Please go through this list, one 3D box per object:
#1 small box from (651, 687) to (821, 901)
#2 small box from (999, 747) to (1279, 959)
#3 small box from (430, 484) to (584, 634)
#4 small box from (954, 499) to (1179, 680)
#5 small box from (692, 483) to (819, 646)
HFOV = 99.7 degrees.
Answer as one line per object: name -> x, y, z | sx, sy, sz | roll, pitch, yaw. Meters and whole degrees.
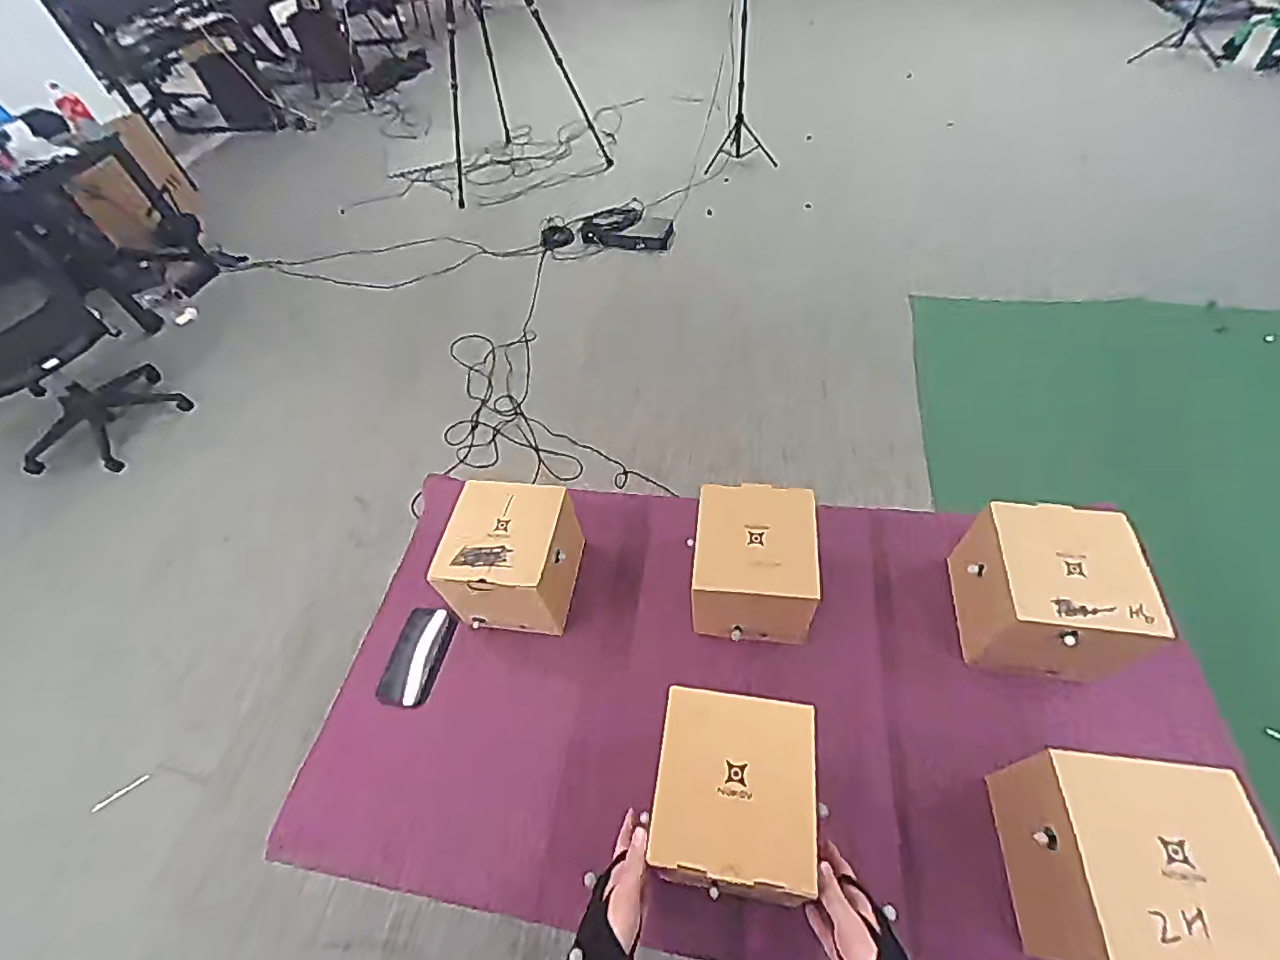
small box -> 0.111, 0.365, 0.629 | 0.168, 0.176, 0.179 | 3, 53, 11
small box -> 0.499, 0.392, 0.549 | 0.168, 0.176, 0.179 | 2, 53, 11
small box -> -0.194, 0.127, 0.855 | 0.168, 0.176, 0.179 | 3, 53, 10
small box -> 0.550, 0.149, 0.733 | 0.168, 0.176, 0.179 | 4, 53, 12
small box -> 0.168, 0.127, 0.807 | 0.168, 0.176, 0.179 | 3, 54, 11
